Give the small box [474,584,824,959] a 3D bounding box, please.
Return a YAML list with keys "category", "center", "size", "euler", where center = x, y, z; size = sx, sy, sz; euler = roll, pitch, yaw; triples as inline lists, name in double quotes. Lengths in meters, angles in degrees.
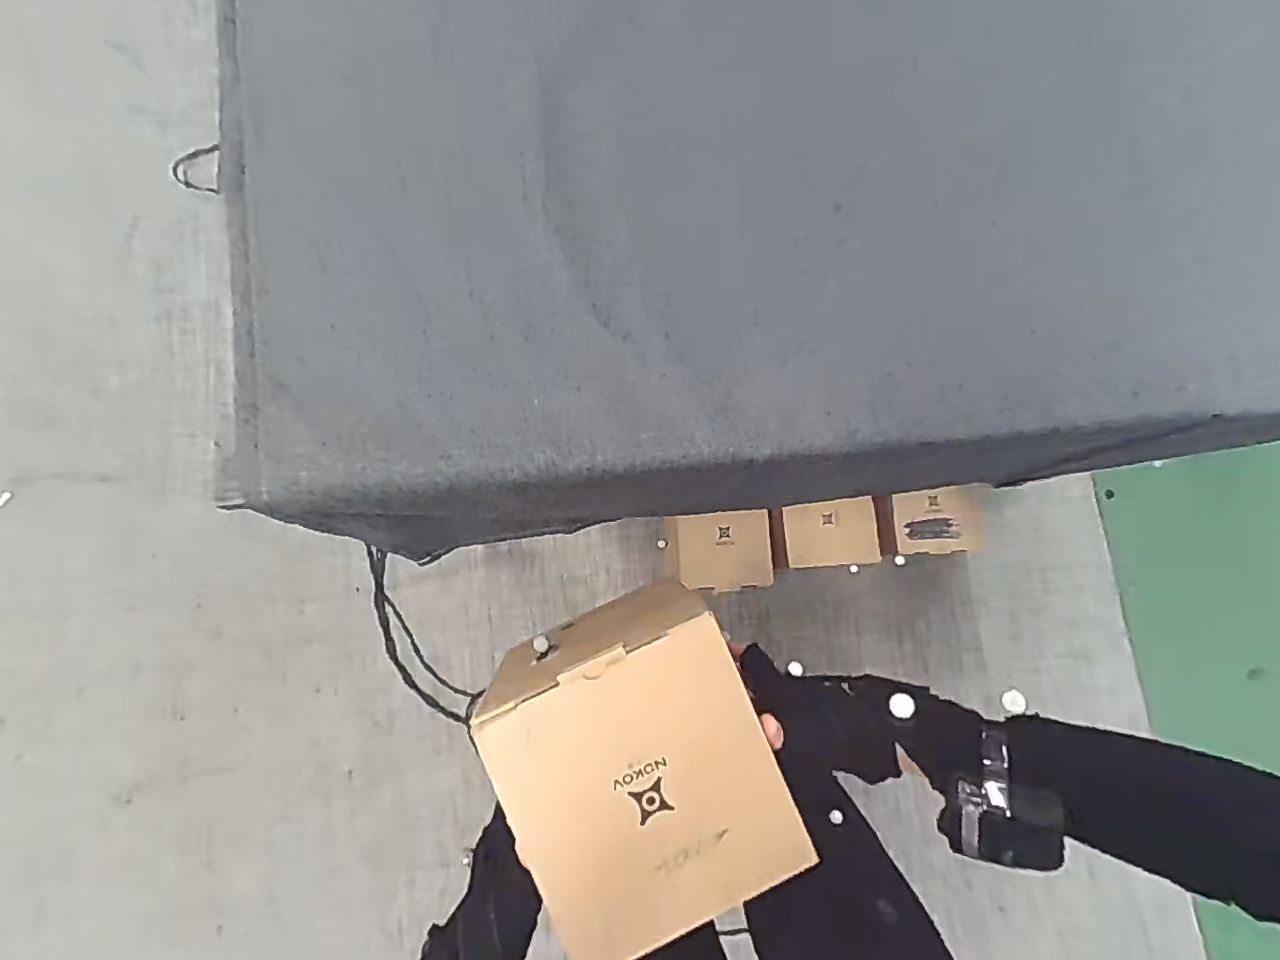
- category: "small box"
  center: [-0.001, 0.187, 0.399]
  size: [0.168, 0.176, 0.179]
  euler: [-21, 90, -6]
